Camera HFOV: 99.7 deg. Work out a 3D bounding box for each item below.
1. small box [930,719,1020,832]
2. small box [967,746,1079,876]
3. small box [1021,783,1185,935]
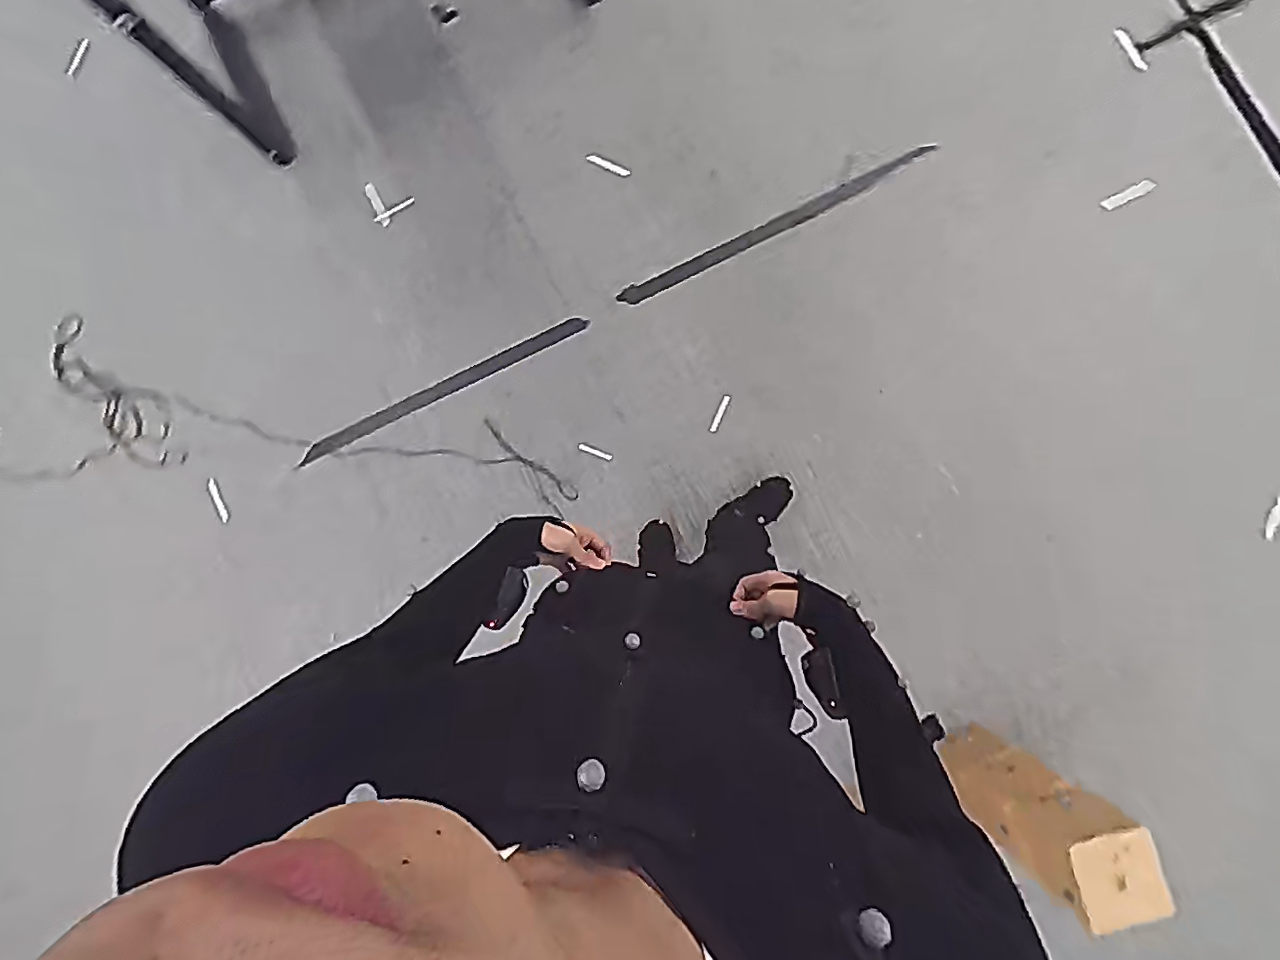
[{"bbox_3d":[0.913,0.772,1.430,0.168,0.176,0.179,-25,88,2],"label":"small box"},{"bbox_3d":[0.916,0.766,1.268,0.168,0.176,0.179,-21,87,1],"label":"small box"},{"bbox_3d":[0.930,0.762,1.103,0.168,0.176,0.179,-15,87,1],"label":"small box"}]
